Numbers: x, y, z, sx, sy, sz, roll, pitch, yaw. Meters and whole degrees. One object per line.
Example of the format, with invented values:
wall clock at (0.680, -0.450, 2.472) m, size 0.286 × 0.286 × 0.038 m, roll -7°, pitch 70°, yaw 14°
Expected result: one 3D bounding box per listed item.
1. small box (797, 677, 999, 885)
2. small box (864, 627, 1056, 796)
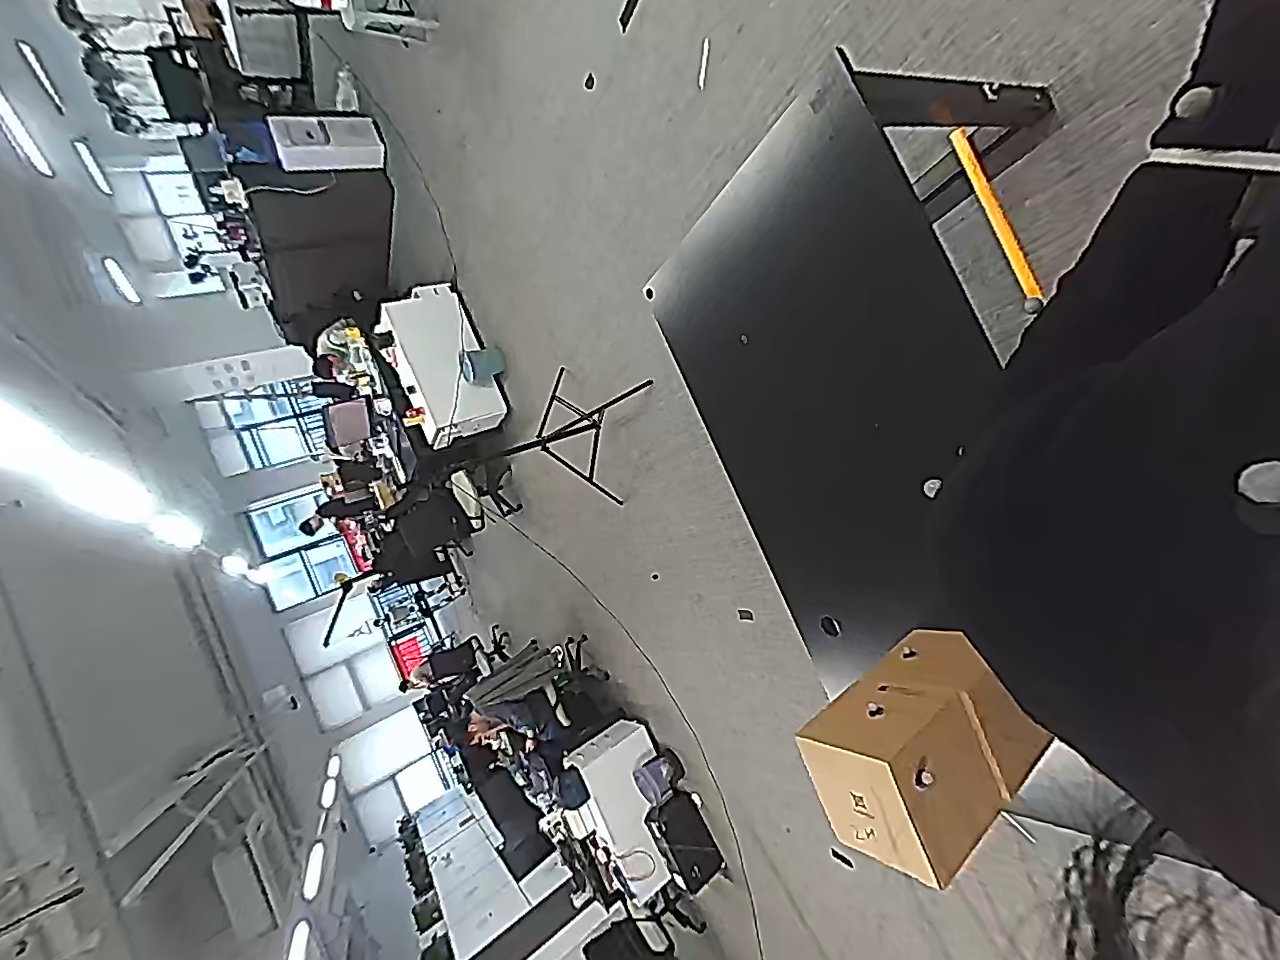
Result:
small box at (0.365, 0.406, 0.771) m, size 0.168 × 0.176 × 0.179 m, roll -23°, pitch 91°, yaw 61°
small box at (0.498, 0.345, 0.847) m, size 0.179 × 0.176 × 0.168 m, roll -23°, pitch 91°, yaw 59°
